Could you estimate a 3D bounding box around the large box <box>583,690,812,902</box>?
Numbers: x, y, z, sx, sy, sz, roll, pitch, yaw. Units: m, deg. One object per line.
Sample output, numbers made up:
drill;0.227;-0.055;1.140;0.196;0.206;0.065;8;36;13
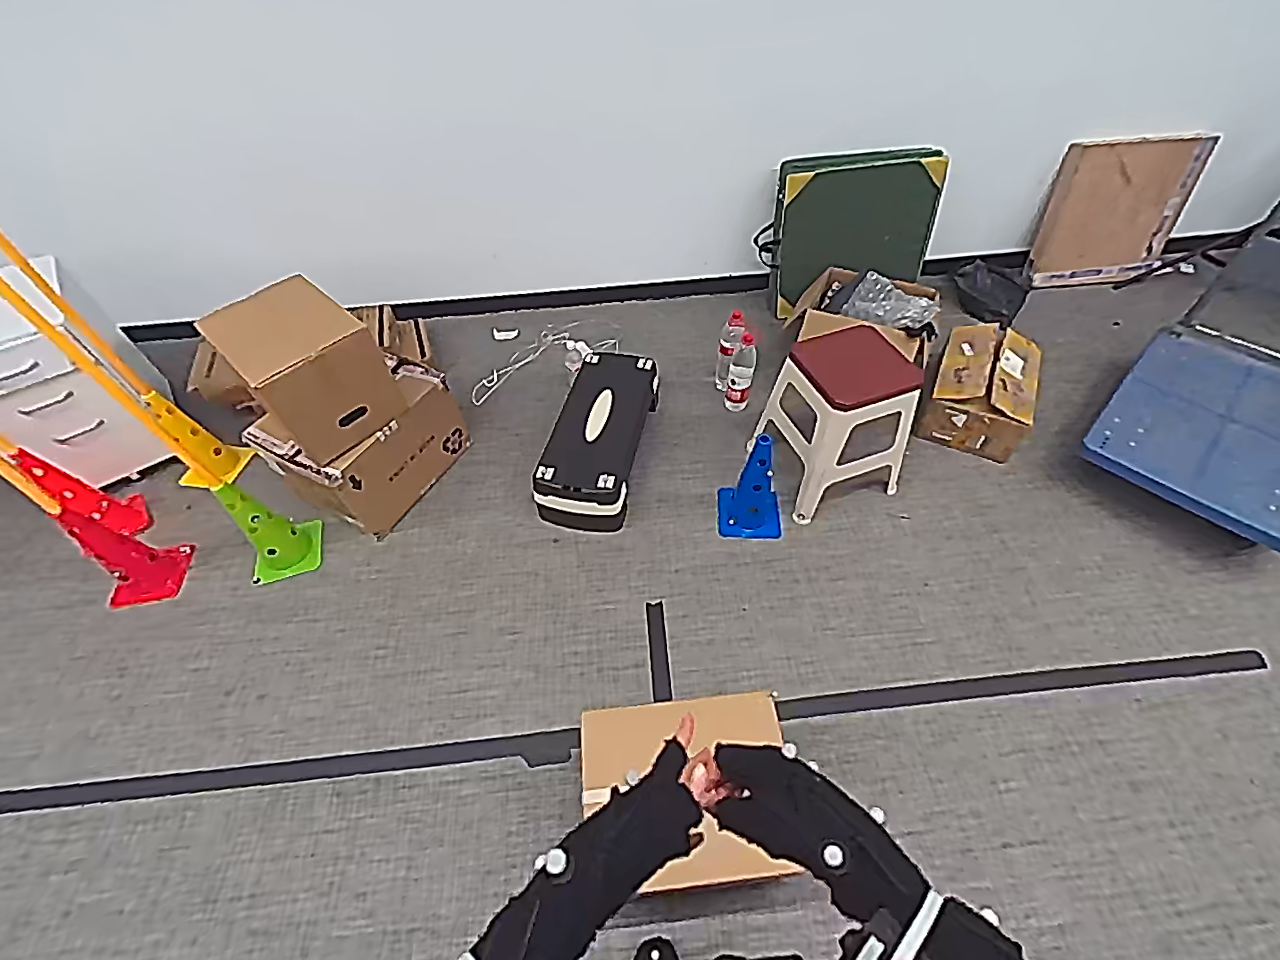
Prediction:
large box;0.097;0.679;1.159;0.408;0.320;0.320;-5;52;-3
